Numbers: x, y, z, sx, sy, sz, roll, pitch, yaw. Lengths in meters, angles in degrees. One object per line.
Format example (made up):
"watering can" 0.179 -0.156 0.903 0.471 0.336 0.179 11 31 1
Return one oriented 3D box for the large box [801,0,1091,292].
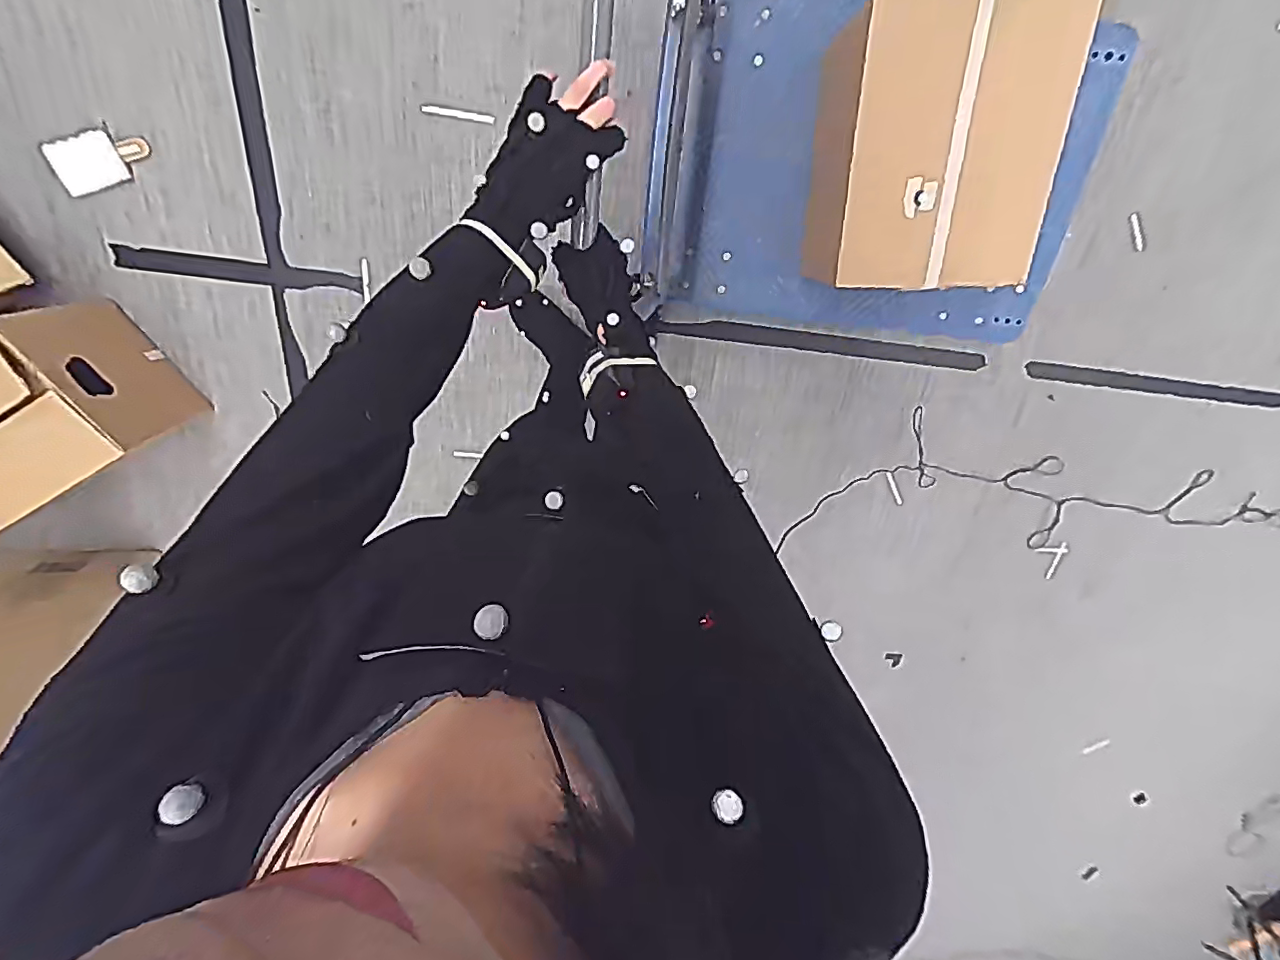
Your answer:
"large box" 0.491 -0.568 0.972 0.320 0.320 0.408 1 115 5
